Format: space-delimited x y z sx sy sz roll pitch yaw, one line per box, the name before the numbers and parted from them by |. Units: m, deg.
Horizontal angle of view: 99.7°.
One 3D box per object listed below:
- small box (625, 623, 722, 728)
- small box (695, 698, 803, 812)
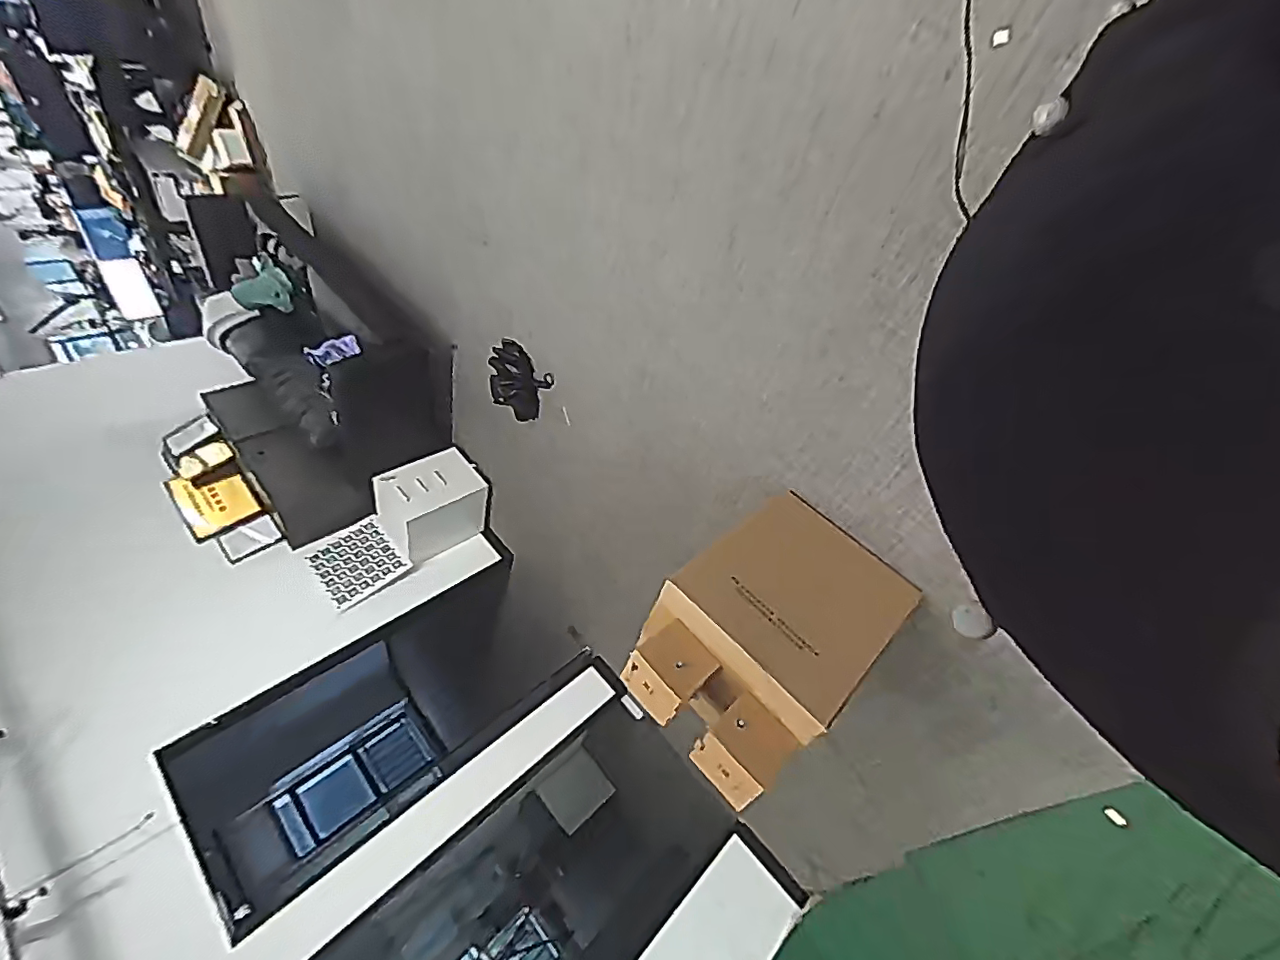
small box | 0.092 0.523 1.464 0.179 0.176 0.168 42 135 22
small box | 0.275 0.680 1.361 0.179 0.176 0.168 39 135 23
